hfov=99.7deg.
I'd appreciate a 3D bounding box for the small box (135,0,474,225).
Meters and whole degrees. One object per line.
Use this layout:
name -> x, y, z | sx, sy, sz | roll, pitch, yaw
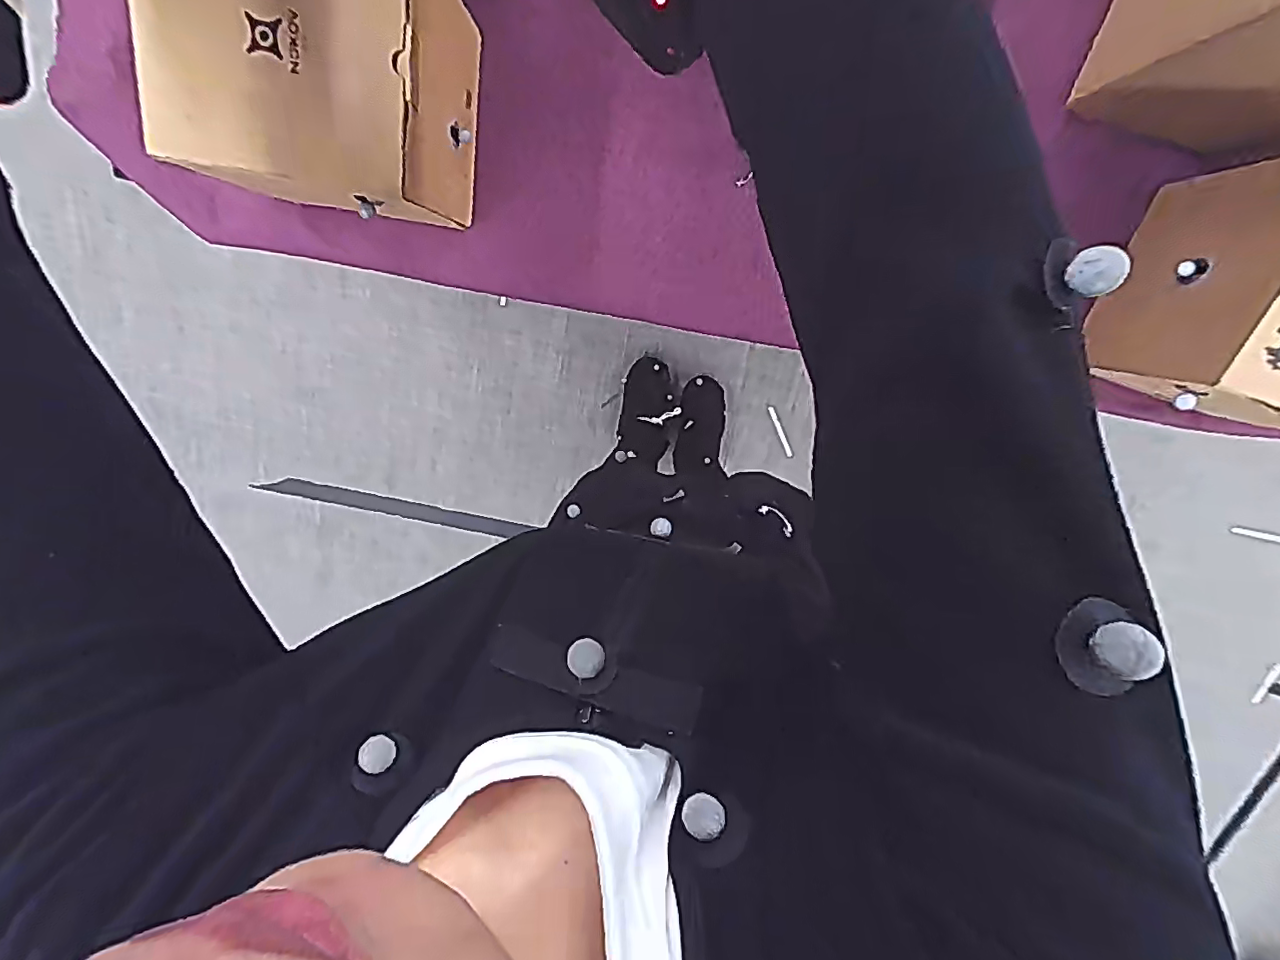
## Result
small box -> -0.247, -0.315, 0.436 | 0.179, 0.176, 0.168 | 7, 108, -5
